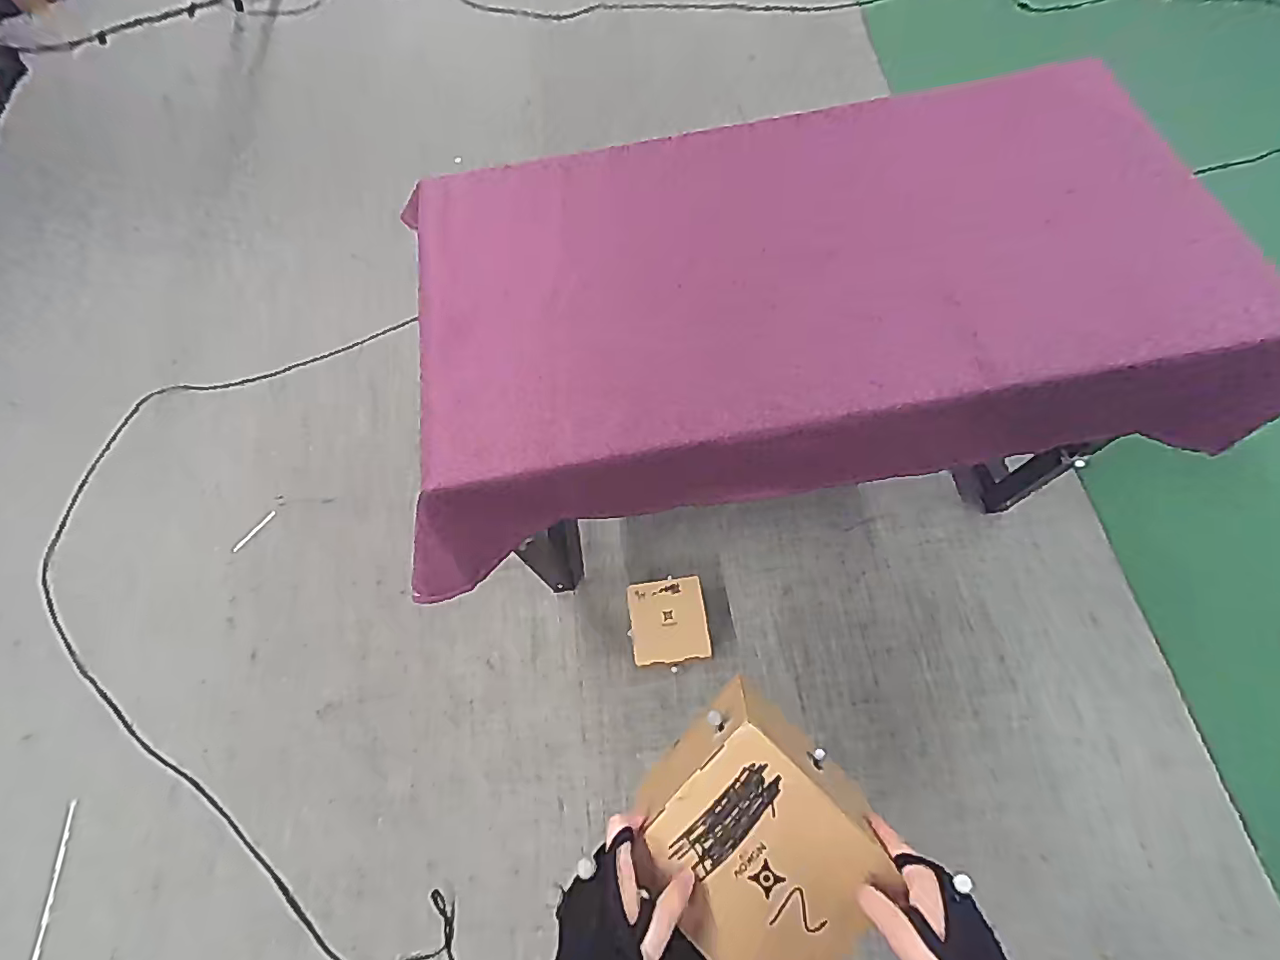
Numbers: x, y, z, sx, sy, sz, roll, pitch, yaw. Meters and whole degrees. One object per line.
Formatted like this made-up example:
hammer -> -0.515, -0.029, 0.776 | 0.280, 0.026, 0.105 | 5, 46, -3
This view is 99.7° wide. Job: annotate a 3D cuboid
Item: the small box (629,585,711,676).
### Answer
small box -> 0.071, 0.355, 1.251 | 0.168, 0.176, 0.179 | -8, 66, 2
